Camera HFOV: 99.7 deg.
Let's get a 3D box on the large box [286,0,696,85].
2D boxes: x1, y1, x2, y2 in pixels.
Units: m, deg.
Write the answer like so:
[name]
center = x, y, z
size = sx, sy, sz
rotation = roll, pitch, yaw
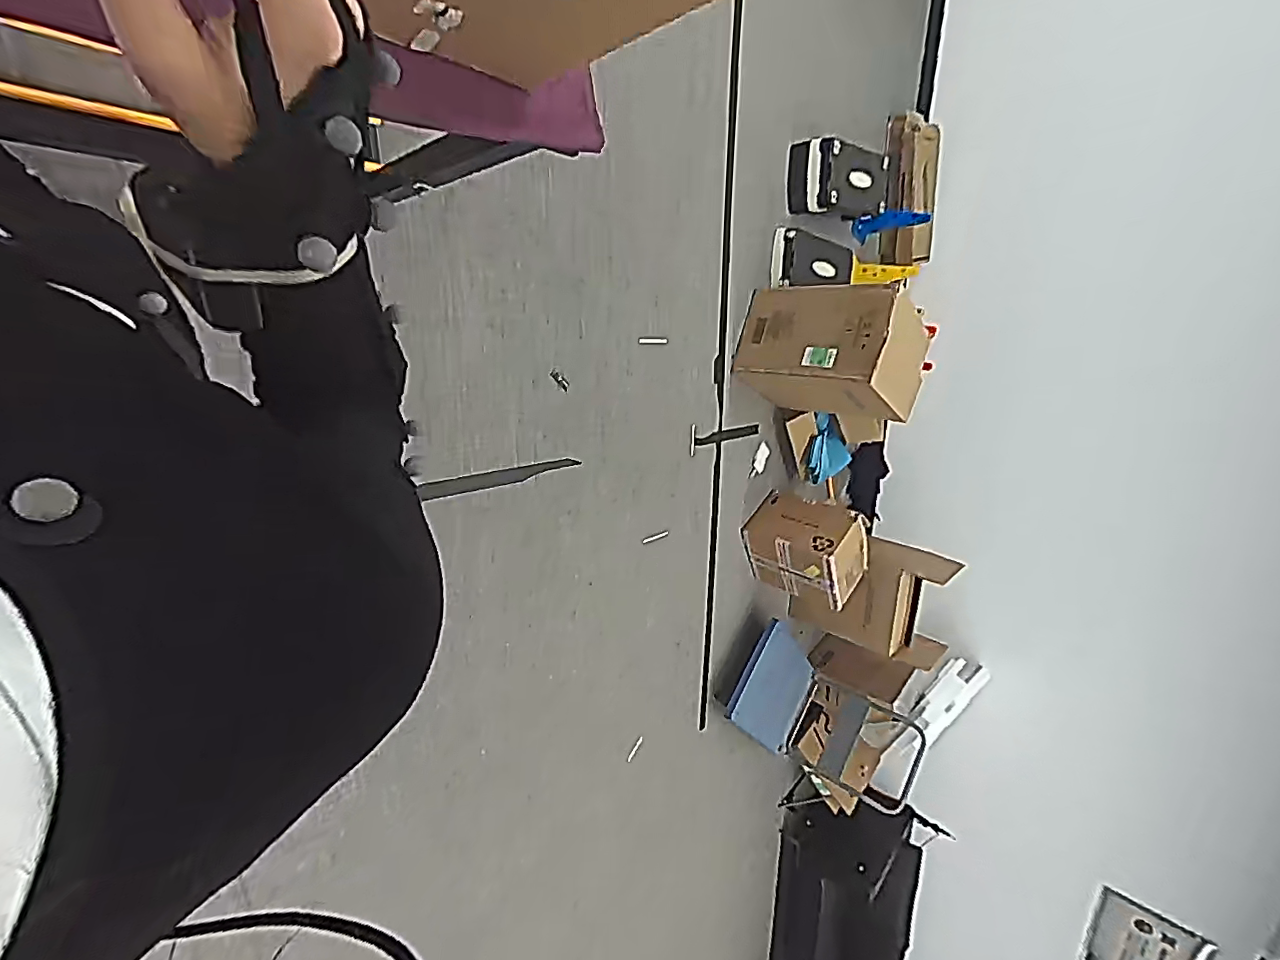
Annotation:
[large box]
center = -0.138, -0.639, 0.445
size = 0.320, 0.320, 0.408
rotation = -16, 112, -45
